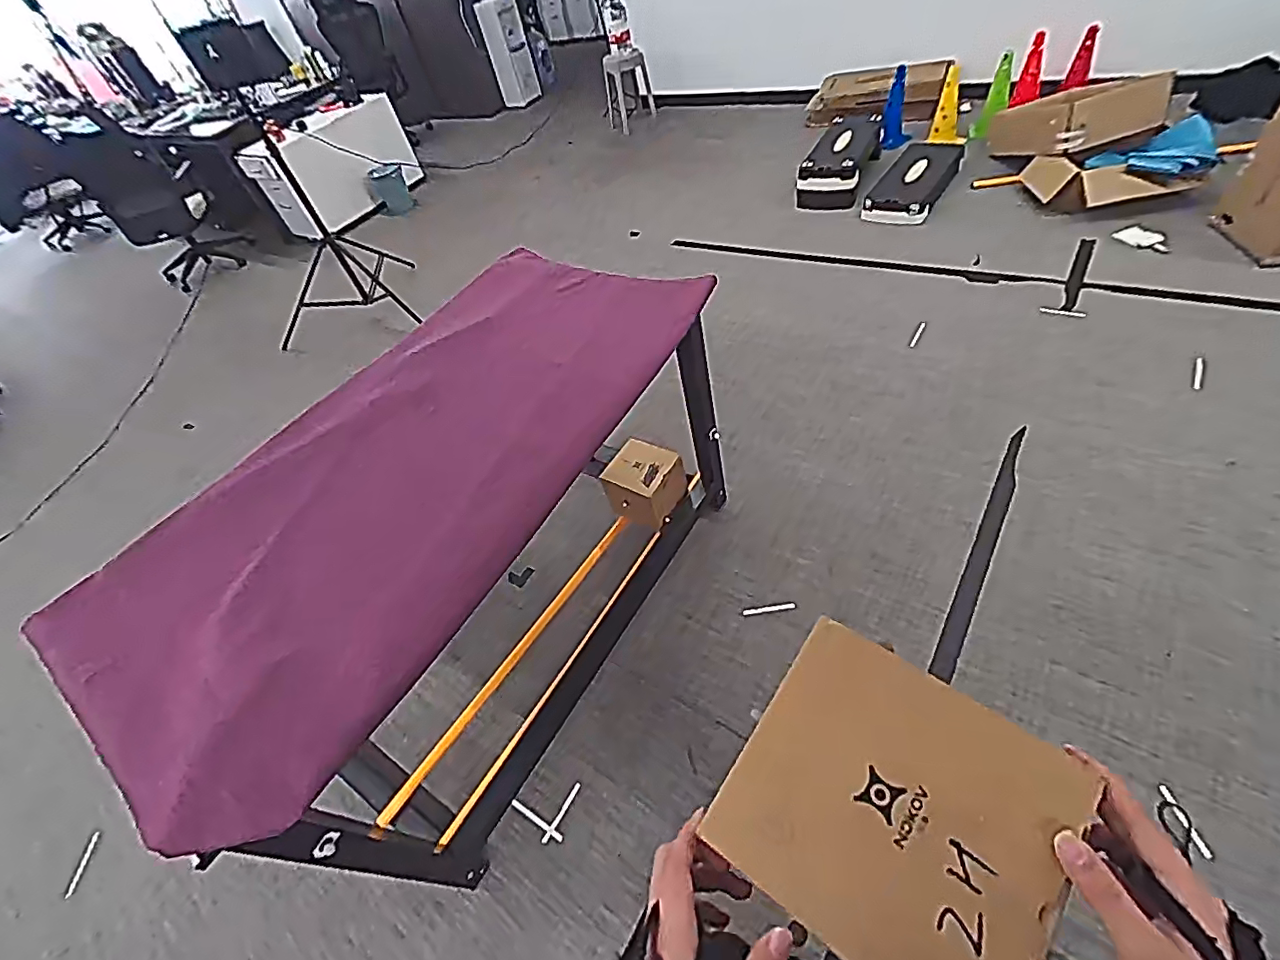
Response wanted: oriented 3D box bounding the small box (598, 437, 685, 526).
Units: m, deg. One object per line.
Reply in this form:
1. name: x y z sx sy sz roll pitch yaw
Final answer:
1. small box: 0.012 0.009 1.544 0.179 0.176 0.168 21 59 29

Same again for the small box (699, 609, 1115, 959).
1. small box: 0.165 0.225 0.380 0.179 0.176 0.168 29 71 26
